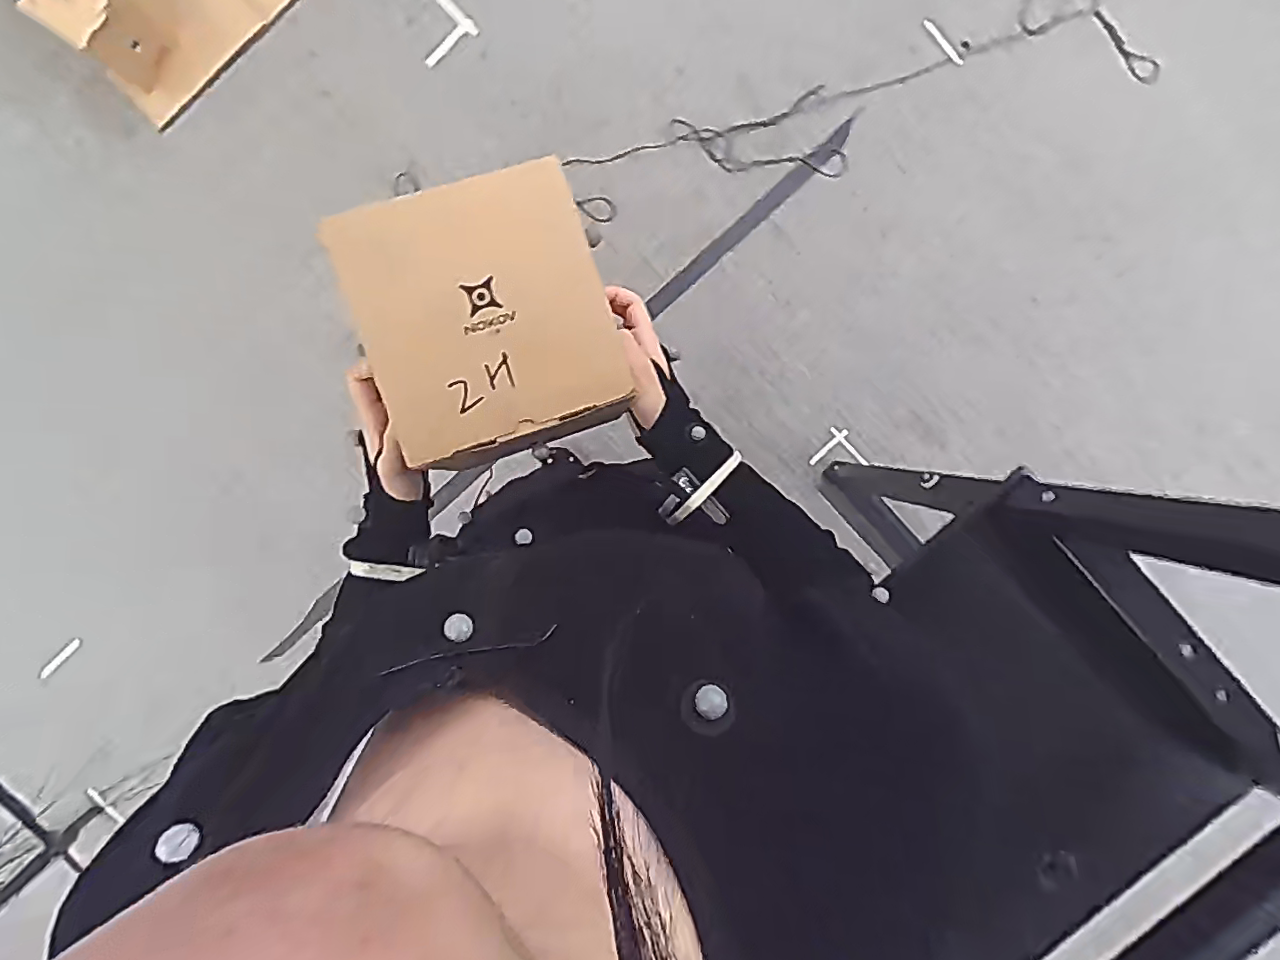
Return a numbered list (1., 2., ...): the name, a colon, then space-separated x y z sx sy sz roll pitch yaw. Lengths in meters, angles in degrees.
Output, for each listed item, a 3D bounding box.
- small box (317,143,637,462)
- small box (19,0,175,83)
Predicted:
1. small box: -0.114 -0.120 0.435 0.168 0.176 0.179 -19 93 -6
2. small box: -1.288 -1.108 1.297 0.179 0.176 0.168 35 94 -4
